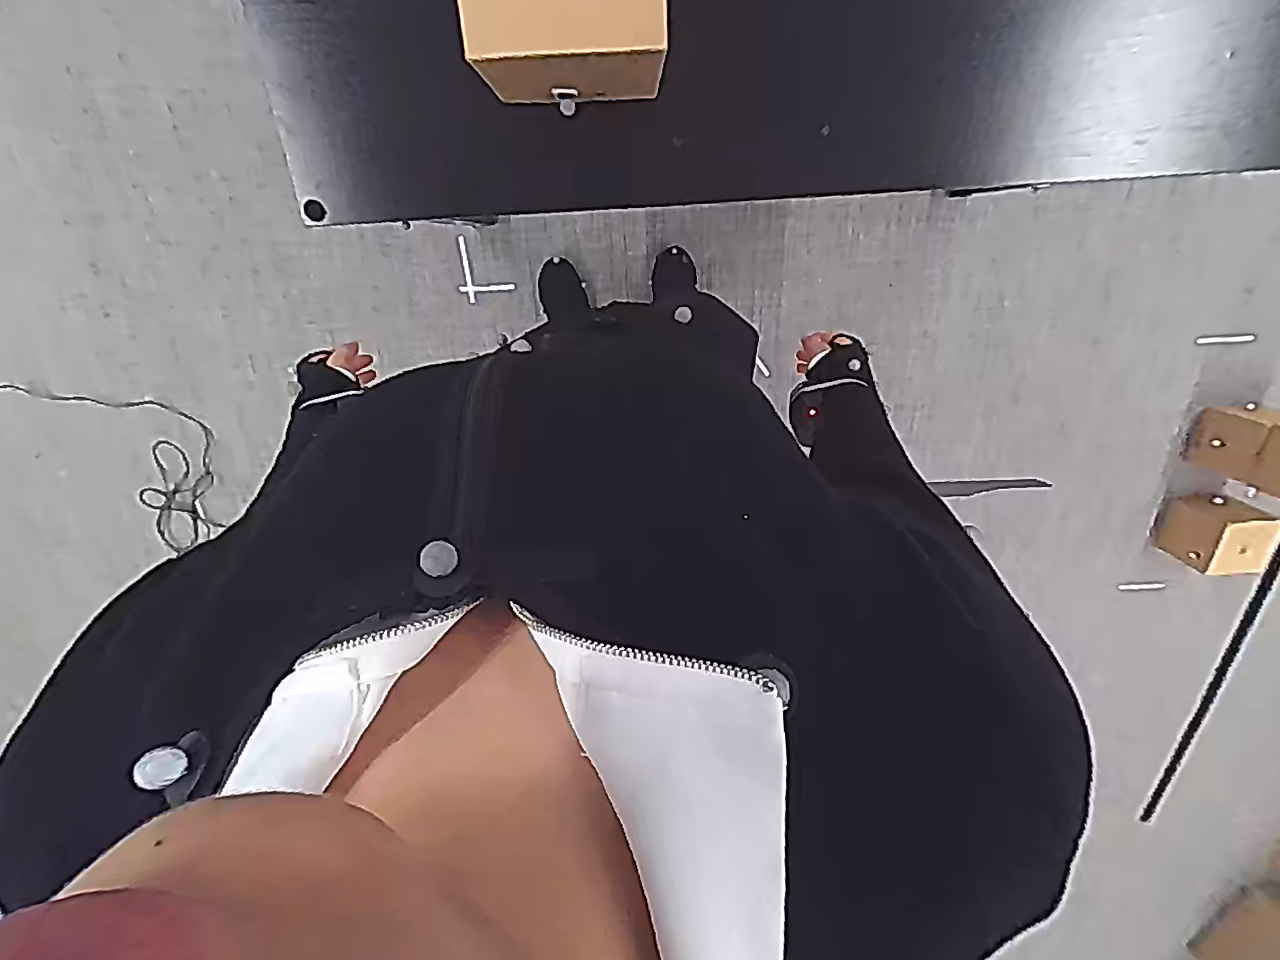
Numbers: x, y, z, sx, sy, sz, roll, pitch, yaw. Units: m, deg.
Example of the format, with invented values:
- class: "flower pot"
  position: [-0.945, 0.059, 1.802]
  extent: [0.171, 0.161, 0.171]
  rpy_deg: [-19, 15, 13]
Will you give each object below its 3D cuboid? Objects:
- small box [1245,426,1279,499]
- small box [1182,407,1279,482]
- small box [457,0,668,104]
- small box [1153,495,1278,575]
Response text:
- class: "small box"
  position: [1.684, -0.031, 1.336]
  extent: [0.168, 0.176, 0.179]
  rpy_deg: [-1, 115, -2]
- class: "small box"
  position: [1.672, -0.100, 1.487]
  extent: [0.179, 0.176, 0.168]
  rpy_deg: [-1, 114, -1]
- class: "small box"
  position: [-0.064, -0.452, 0.469]
  extent: [0.168, 0.176, 0.179]
  rpy_deg: [-3, 115, 0]
- class: "small box"
  position: [1.692, 0.160, 1.605]
  extent: [0.168, 0.176, 0.179]
  rpy_deg: [-4, 114, 0]
